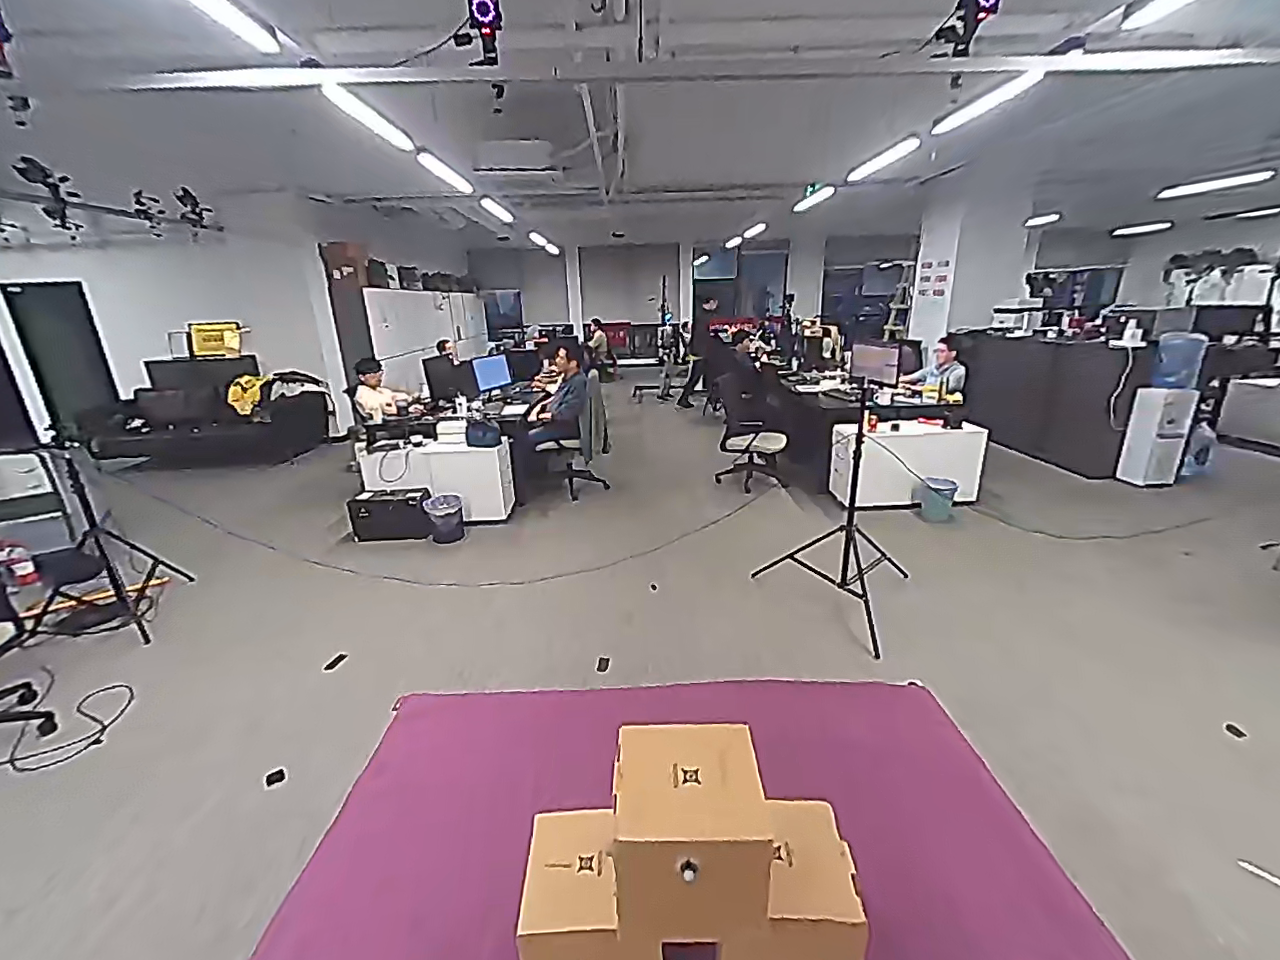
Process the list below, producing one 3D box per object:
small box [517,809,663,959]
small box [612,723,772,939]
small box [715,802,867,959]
[{"bbox_3d":[-0.059,0.588,0.742,0.179,0.176,0.168,-4,17,-1],"label":"small box"},{"bbox_3d":[0.061,0.434,0.679,0.179,0.176,0.168,-1,19,1],"label":"small box"},{"bbox_3d":[0.192,0.580,0.746,0.179,0.176,0.168,-1,17,4],"label":"small box"}]
